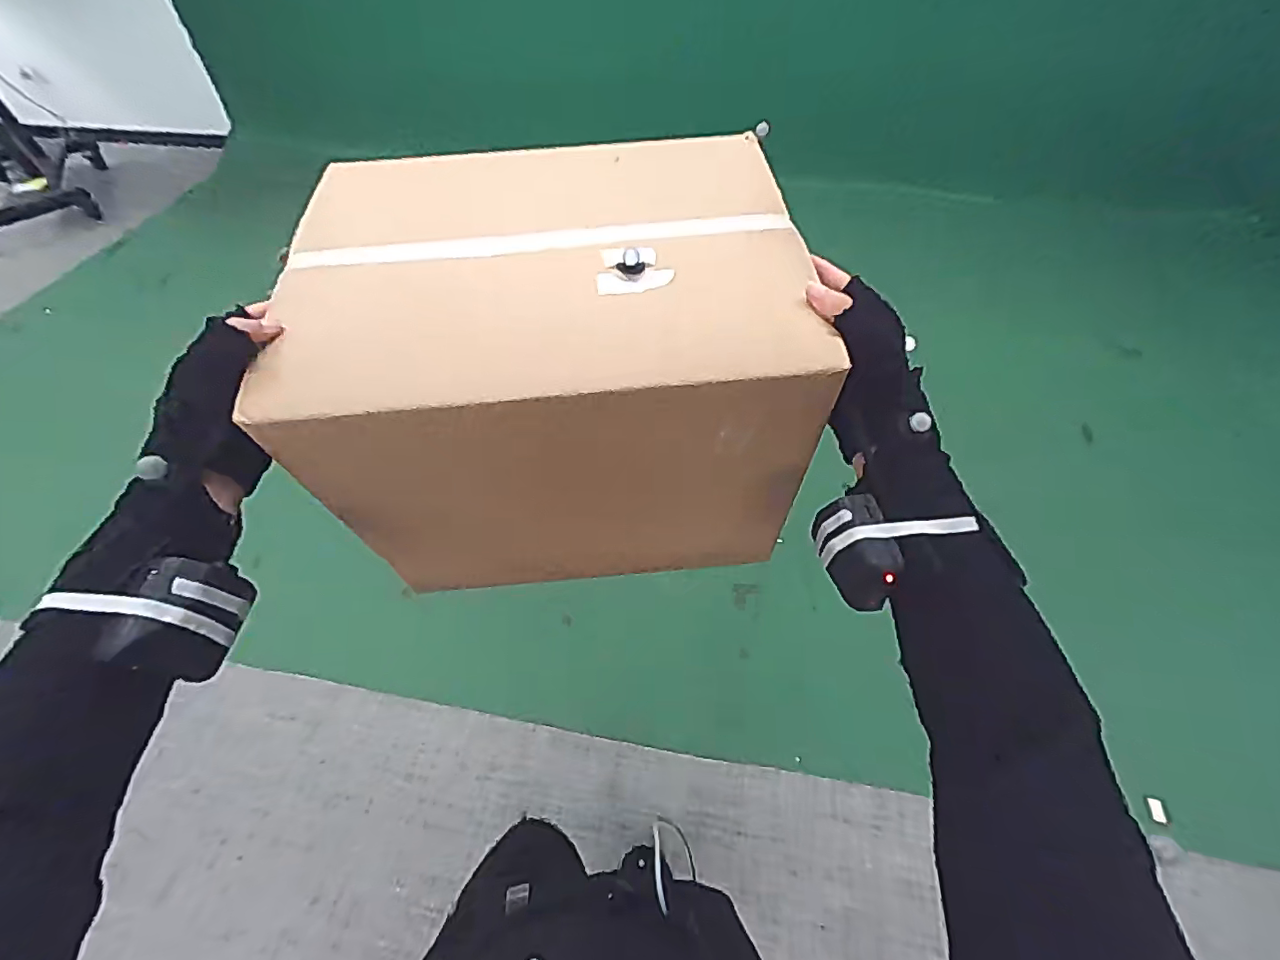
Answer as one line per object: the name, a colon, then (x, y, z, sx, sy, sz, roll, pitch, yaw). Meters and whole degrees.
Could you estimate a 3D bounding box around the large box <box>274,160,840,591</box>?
large box: (-0.068, -0.097, 0.579, 0.408, 0.320, 0.320, -5, 58, -3)
